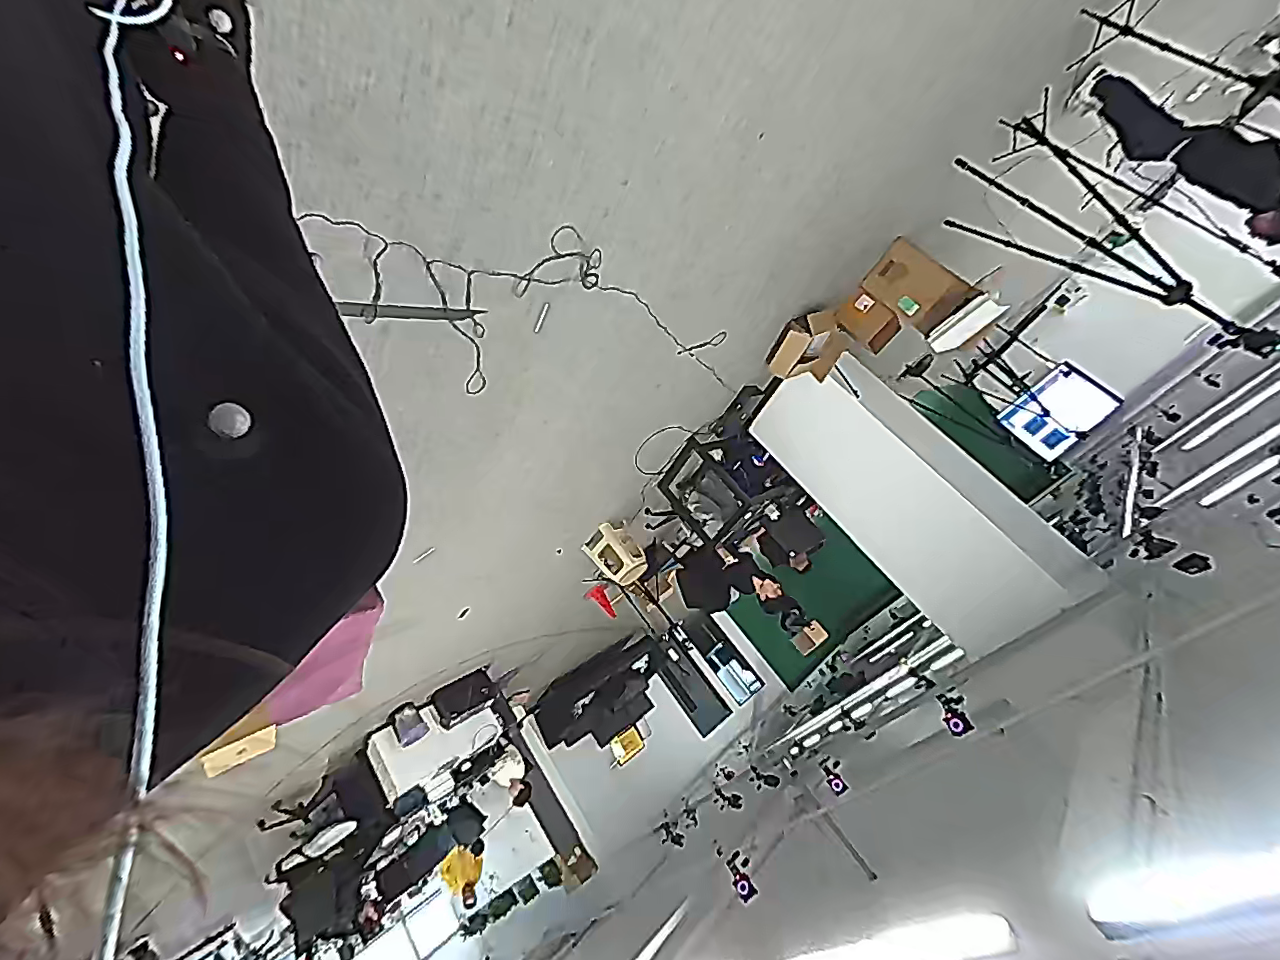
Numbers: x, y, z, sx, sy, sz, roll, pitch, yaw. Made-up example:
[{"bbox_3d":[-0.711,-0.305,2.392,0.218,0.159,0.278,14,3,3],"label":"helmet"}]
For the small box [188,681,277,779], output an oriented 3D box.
[{"bbox_3d":[-1.151,0.697,1.529,0.168,0.176,0.179,-16,149,-44],"label":"small box"}]
